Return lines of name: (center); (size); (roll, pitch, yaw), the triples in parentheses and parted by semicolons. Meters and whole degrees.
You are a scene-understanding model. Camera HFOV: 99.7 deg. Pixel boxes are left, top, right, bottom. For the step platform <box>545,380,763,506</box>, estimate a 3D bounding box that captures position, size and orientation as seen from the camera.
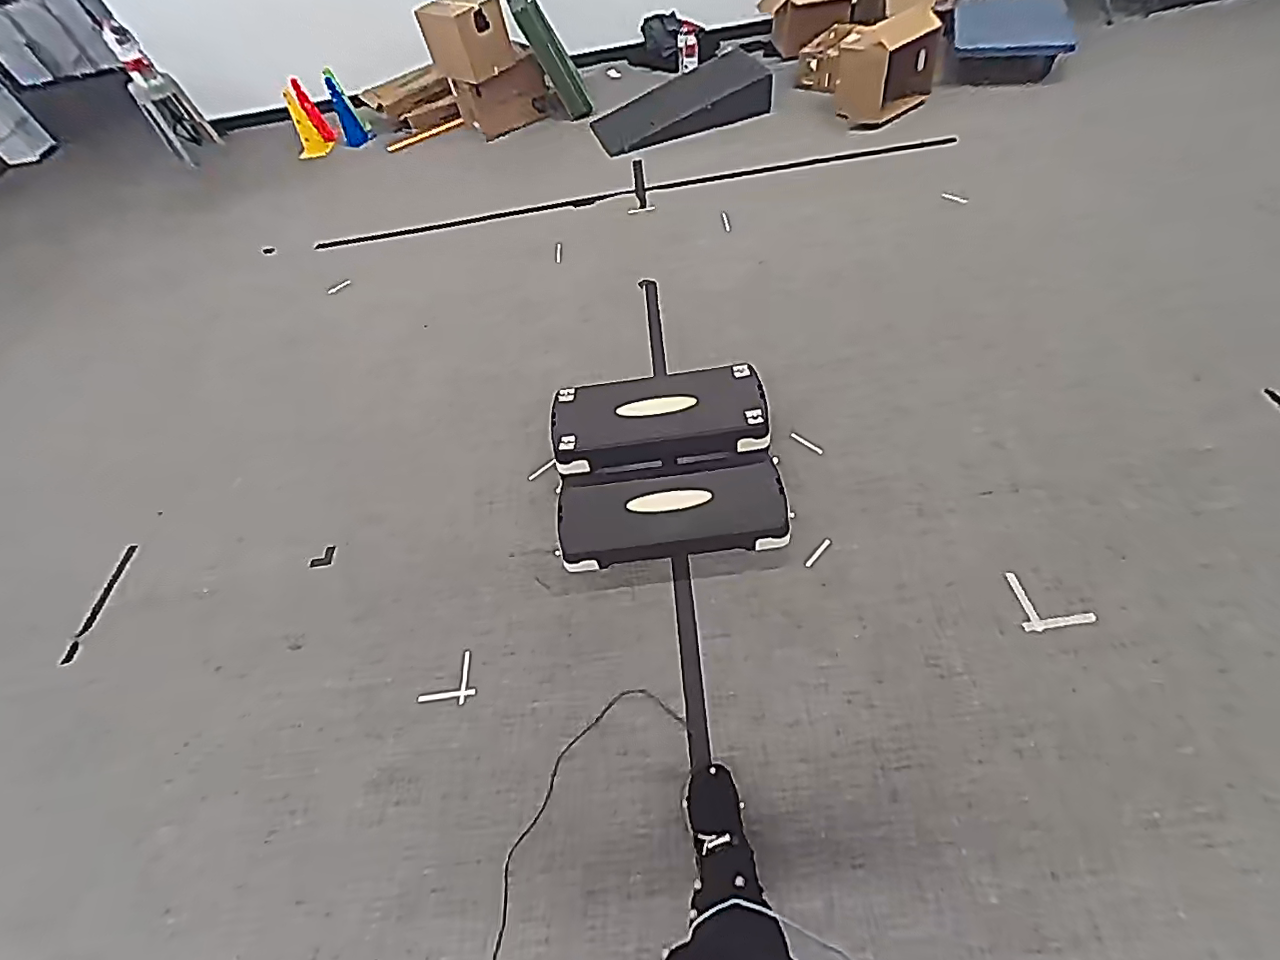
step platform: (0.042, -0.122, 1.727); (0.684, 0.204, 0.286); (-8, 54, 2)
